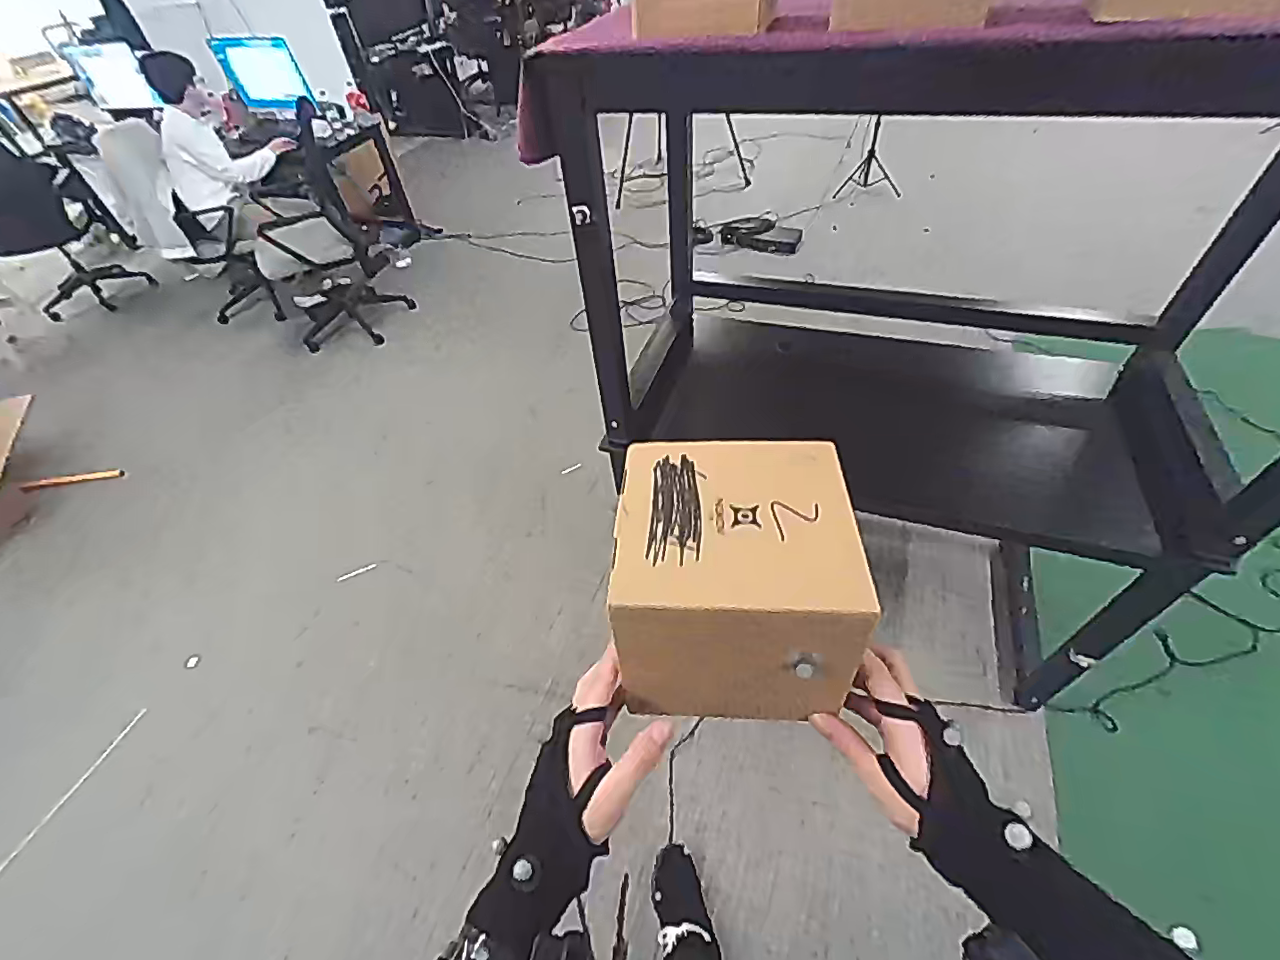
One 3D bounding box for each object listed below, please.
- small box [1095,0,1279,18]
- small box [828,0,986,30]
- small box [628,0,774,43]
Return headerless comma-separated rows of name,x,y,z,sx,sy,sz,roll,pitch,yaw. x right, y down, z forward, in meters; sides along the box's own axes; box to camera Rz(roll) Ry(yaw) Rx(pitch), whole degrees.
small box,0.595,-0.592,0.547,0.179,0.176,0.168,13,51,20
small box,0.330,-0.648,0.632,0.179,0.176,0.168,14,51,18
small box,0.083,-0.694,0.708,0.179,0.176,0.168,10,50,15
